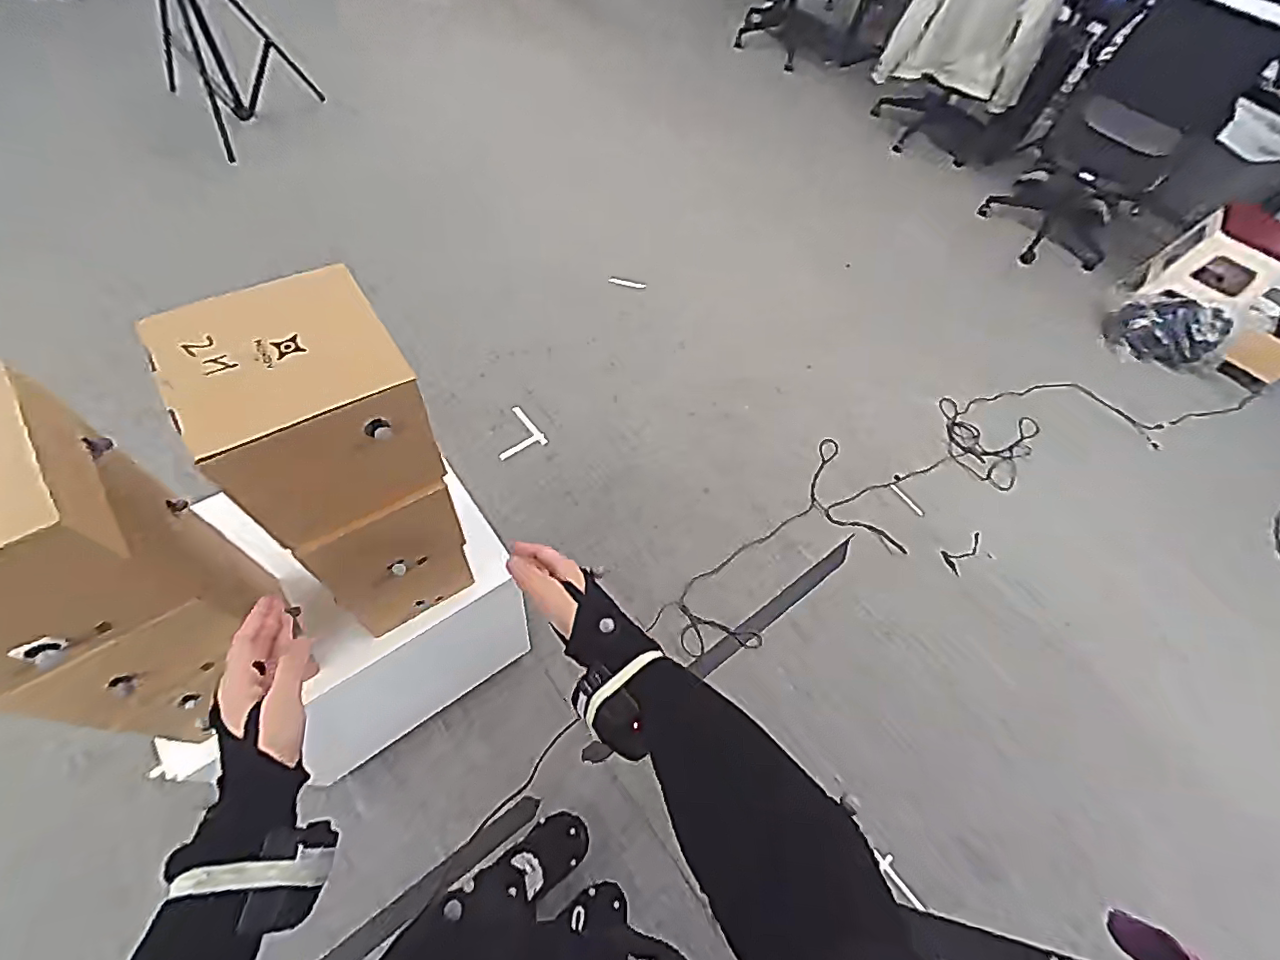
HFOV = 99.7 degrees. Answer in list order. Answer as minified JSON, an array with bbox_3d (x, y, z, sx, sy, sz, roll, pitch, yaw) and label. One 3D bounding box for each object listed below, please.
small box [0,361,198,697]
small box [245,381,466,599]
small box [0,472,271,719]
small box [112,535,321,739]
[{"bbox_3d":[-0.513,0.046,0.433,0.168,0.176,0.179,-33,70,-23],"label":"small box"},{"bbox_3d":[-0.335,0.017,0.665,0.168,0.176,0.179,-29,69,-22],"label":"small box"},{"bbox_3d":[-0.535,0.129,0.571,0.168,0.176,0.179,-32,69,-24],"label":"small box"},{"bbox_3d":[-0.559,0.210,0.710,0.168,0.176,0.179,-30,68,-24],"label":"small box"}]
